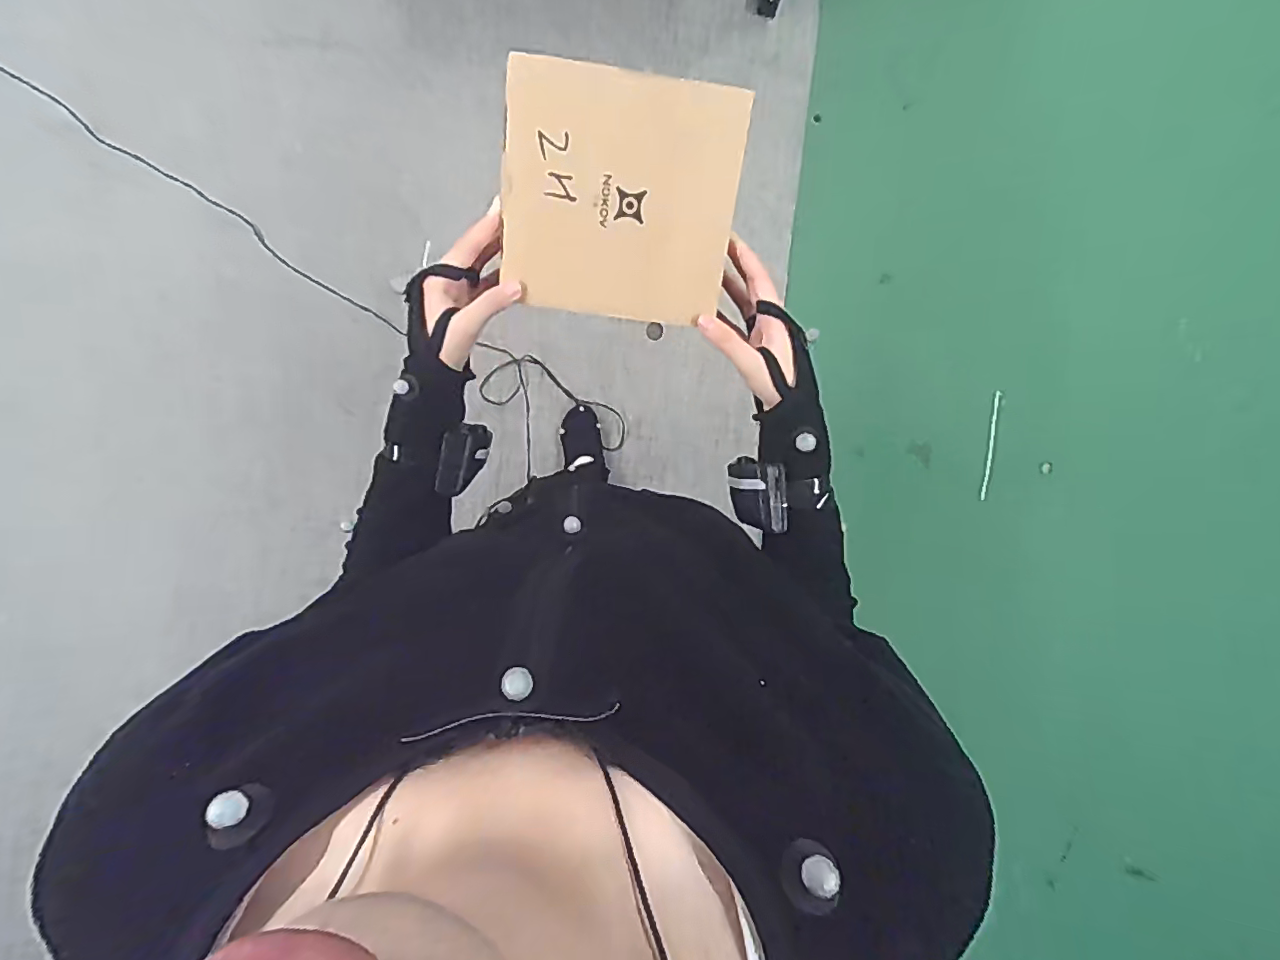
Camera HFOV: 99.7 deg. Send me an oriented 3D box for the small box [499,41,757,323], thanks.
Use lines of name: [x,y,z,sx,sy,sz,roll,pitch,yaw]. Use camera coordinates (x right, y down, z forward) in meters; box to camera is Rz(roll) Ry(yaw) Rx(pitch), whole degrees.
small box: [-0.015,-0.242,0.474,0.179,0.176,0.168,7,111,-3]
